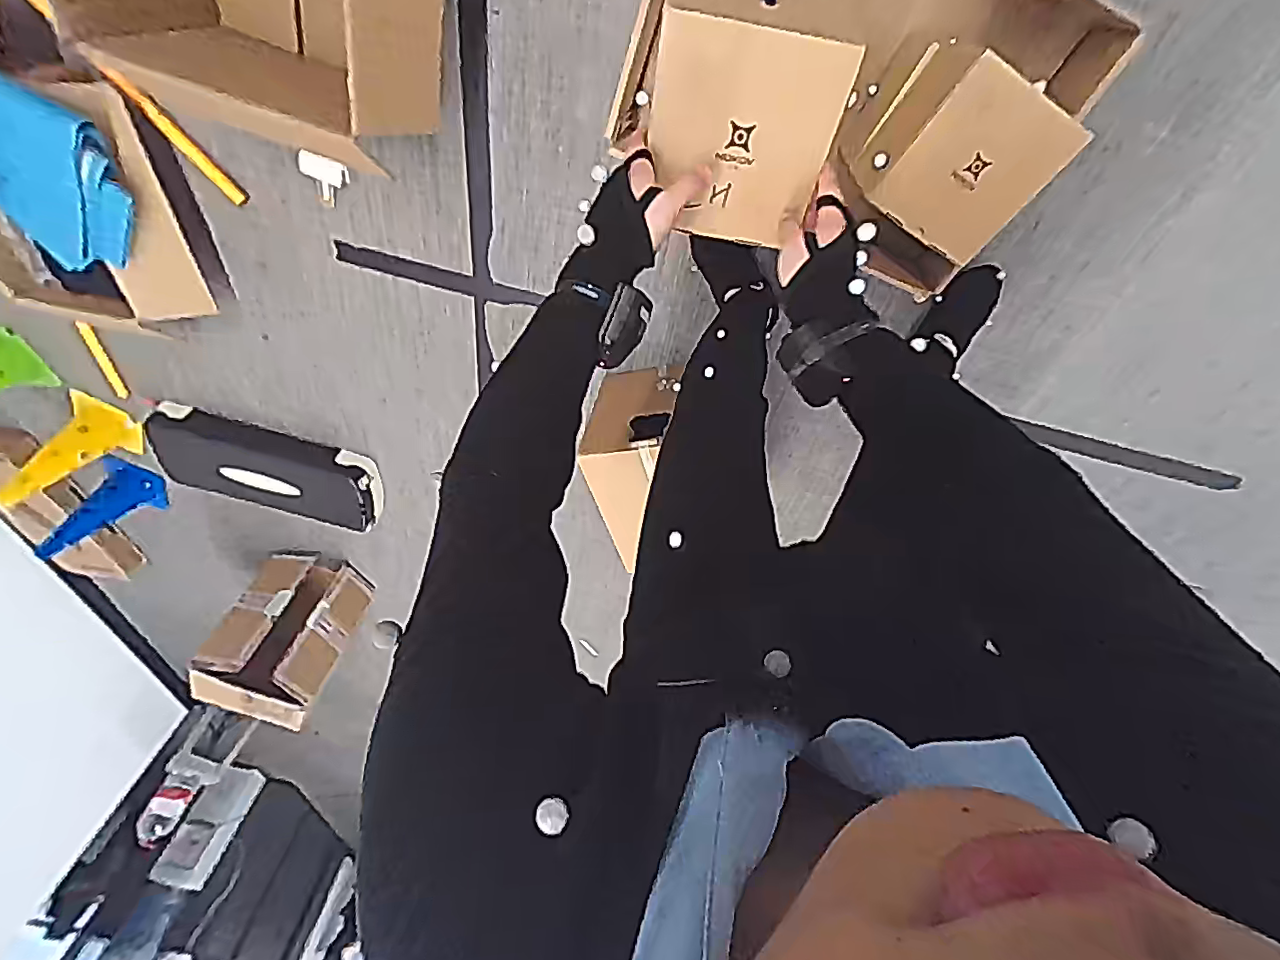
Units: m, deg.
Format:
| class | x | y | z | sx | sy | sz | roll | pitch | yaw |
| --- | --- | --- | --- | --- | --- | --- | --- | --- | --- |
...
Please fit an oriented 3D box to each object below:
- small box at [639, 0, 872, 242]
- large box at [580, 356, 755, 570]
| class | x | y | z | sx | sy | sz | roll | pitch | yaw |
| --- | --- | --- | --- | --- | --- | --- | --- | --- | --- |
| small box | 0.099 | -0.375 | 0.538 | 0.168 | 0.176 | 0.179 | 11 | 141 | -3 |
| large box | 0.092 | -0.032 | 1.317 | 0.320 | 0.320 | 0.408 | -6 | 132 | 17 |
